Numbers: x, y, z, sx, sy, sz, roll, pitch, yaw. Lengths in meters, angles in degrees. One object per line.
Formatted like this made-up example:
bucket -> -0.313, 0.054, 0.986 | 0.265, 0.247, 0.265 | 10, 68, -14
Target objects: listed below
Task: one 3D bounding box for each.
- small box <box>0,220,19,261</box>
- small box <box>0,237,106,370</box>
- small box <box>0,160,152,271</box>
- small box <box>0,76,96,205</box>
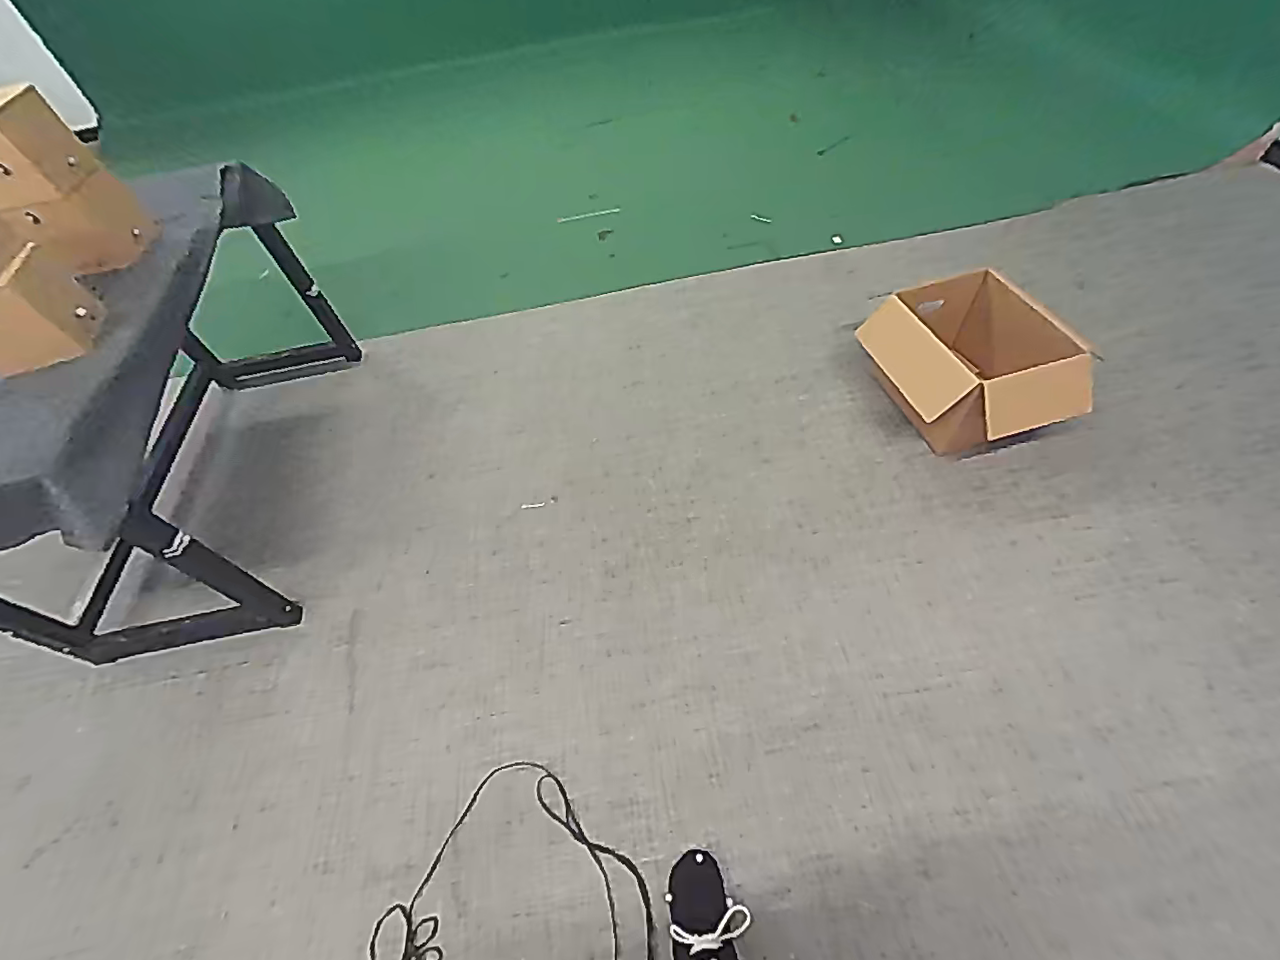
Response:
small box -> -1.279, -0.440, 0.948 | 0.168, 0.176, 0.179 | -15, 53, -5
small box -> -1.245, -0.347, 1.078 | 0.179, 0.176, 0.168 | -19, 55, -6
small box -> -1.332, -0.628, 1.291 | 0.168, 0.176, 0.179 | -10, 54, 0
small box -> -1.353, -0.723, 1.154 | 0.168, 0.176, 0.179 | -10, 54, 1
